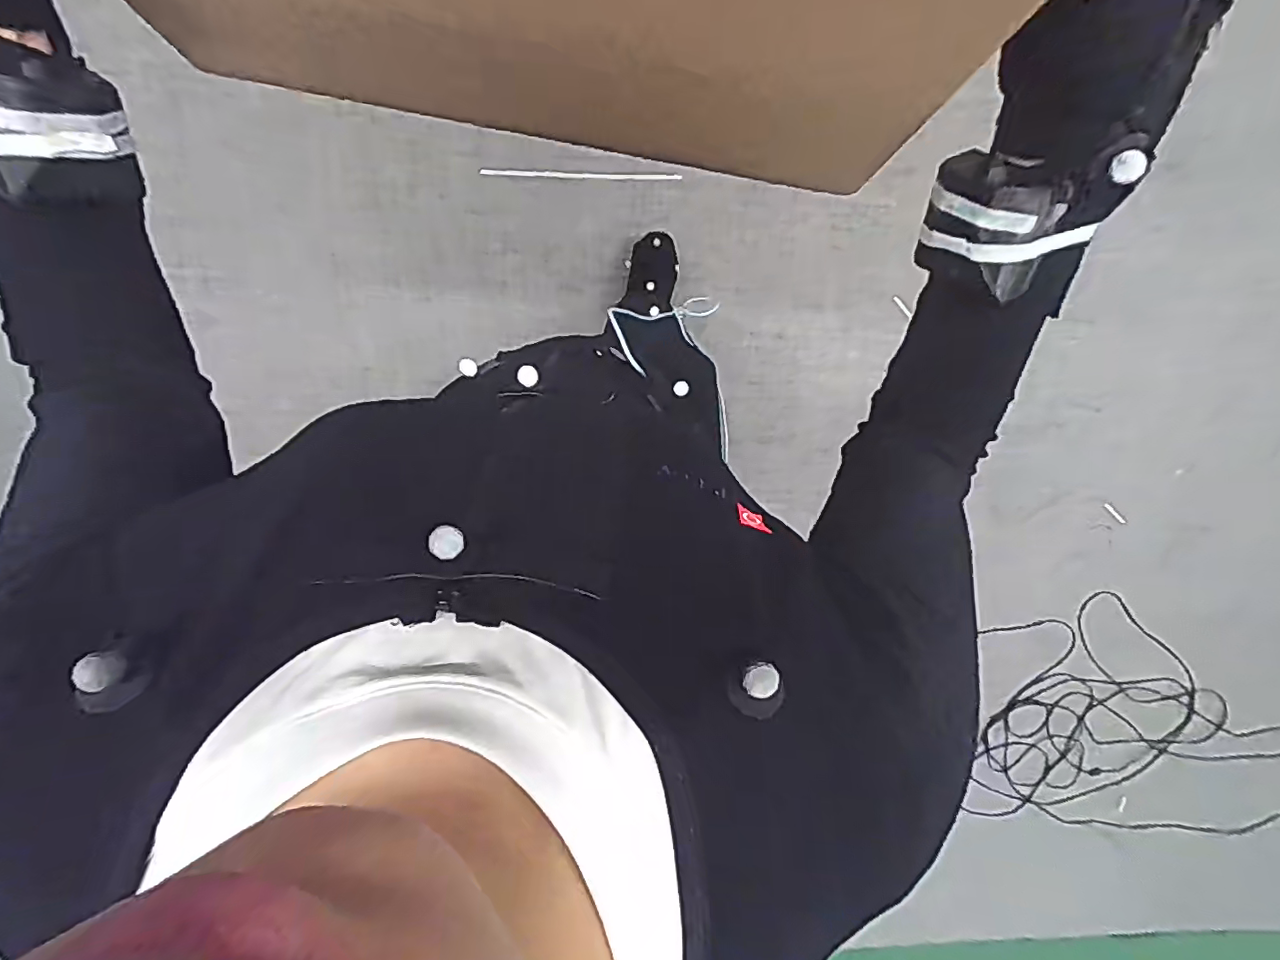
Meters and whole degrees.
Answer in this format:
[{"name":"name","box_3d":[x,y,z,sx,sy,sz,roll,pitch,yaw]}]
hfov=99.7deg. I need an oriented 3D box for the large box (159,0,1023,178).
[{"name":"large box","box_3d":[-0.025,-0.357,0.178,0.408,0.320,0.320,9,94,-4]}]
